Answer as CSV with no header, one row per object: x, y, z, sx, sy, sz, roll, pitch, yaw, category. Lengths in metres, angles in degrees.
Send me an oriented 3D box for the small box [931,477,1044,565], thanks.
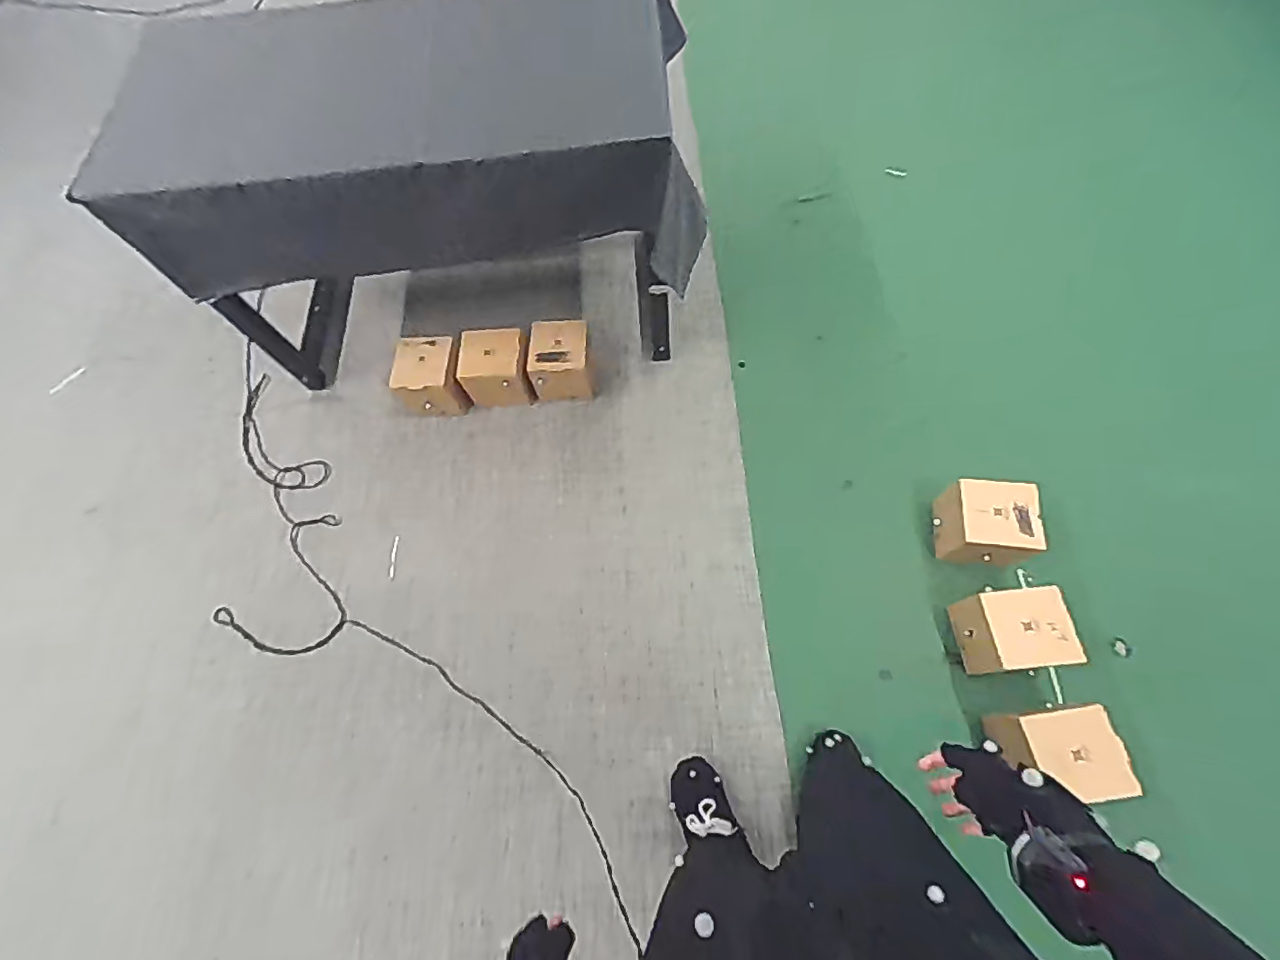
0.853,0.107,1.344,0.179,0.176,0.168,5,67,8,small box

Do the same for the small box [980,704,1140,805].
0.872,0.571,1.144,0.179,0.176,0.168,-9,66,0,small box

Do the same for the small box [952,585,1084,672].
0.848,0.344,1.241,0.179,0.176,0.168,-6,67,2,small box
